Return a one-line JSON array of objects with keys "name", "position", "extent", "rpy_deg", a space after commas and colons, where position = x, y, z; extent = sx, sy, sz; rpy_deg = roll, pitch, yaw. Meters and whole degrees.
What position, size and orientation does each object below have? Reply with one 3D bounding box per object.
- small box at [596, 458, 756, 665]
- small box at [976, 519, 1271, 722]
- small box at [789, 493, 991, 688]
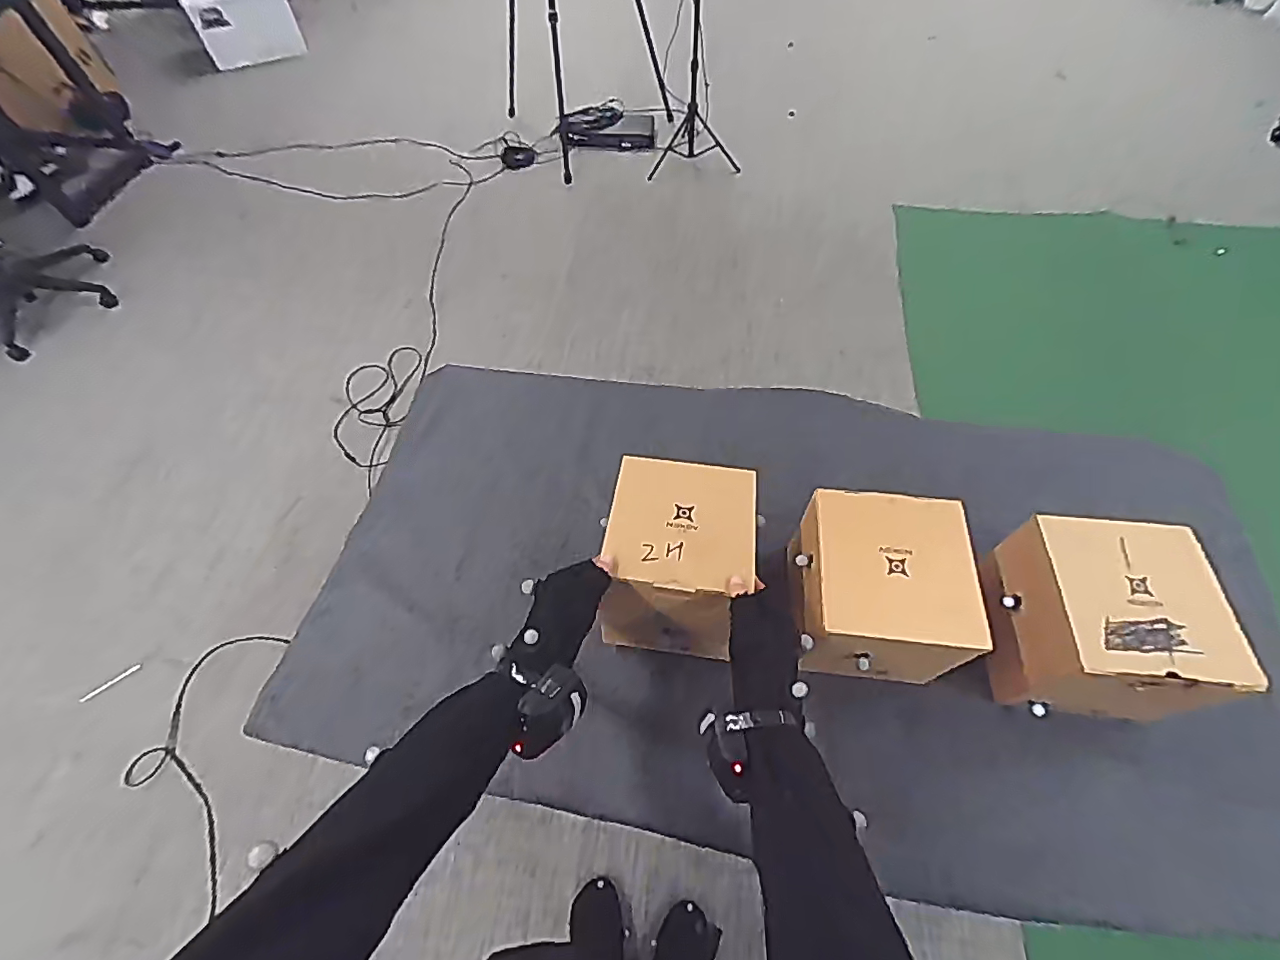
[{"name": "small box", "position": [0.044, 0.100, 0.661], "extent": [0.168, 0.176, 0.179], "rpy_deg": [7, 49, 5]}, {"name": "small box", "position": [0.516, 0.165, 0.617], "extent": [0.168, 0.176, 0.179], "rpy_deg": [5, 56, 5]}, {"name": "small box", "position": [0.279, 0.138, 0.648], "extent": [0.168, 0.176, 0.179], "rpy_deg": [5, 57, 6]}]
